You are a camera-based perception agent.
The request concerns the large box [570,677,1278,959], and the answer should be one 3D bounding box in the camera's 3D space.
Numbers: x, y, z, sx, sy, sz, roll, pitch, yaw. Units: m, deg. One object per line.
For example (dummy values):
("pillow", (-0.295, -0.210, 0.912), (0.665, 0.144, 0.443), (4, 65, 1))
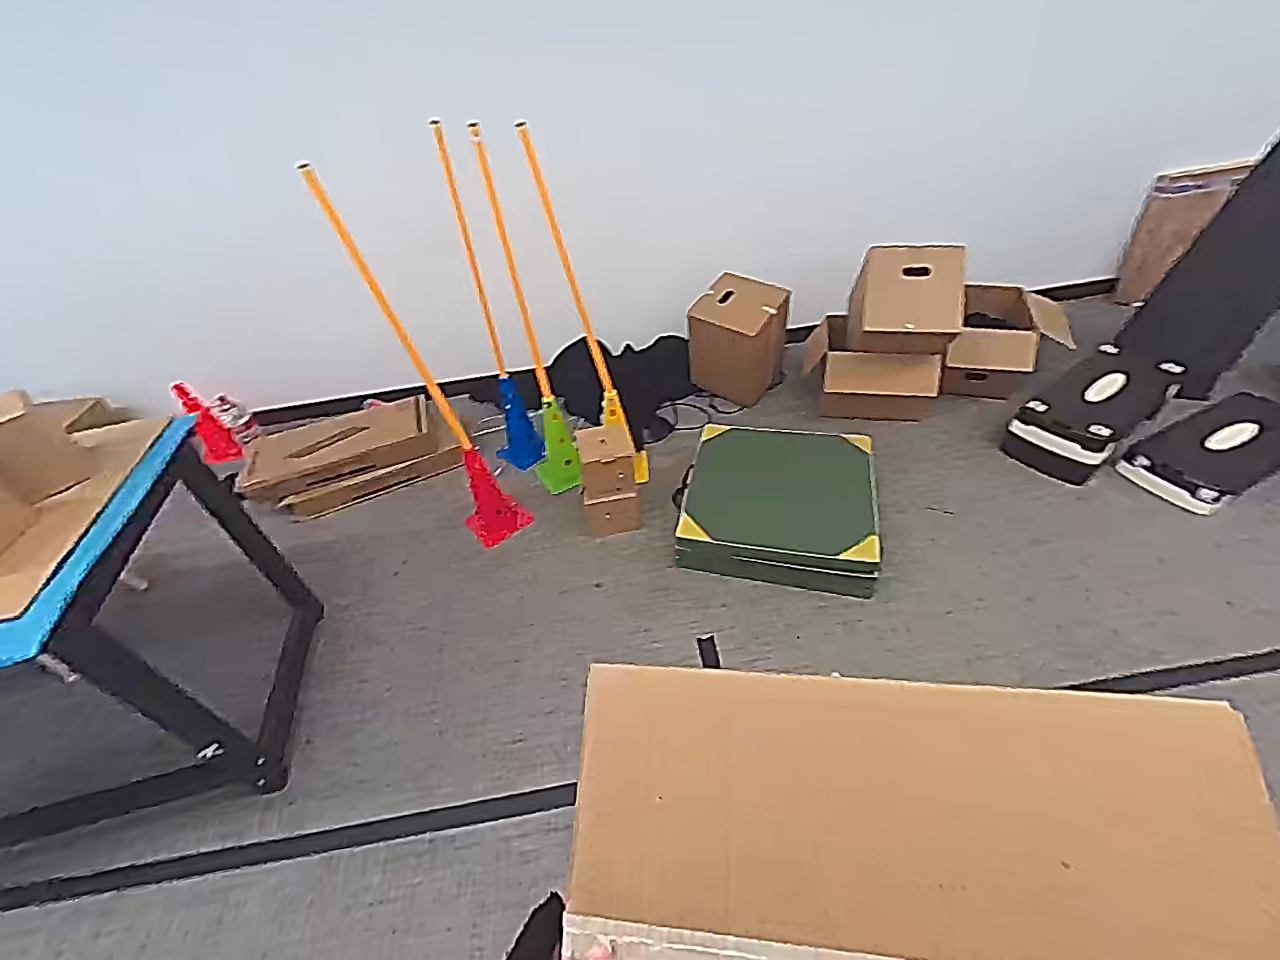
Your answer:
("large box", (0.174, 0.341, 0.454), (0.408, 0.320, 0.320), (-1, 66, 9))
